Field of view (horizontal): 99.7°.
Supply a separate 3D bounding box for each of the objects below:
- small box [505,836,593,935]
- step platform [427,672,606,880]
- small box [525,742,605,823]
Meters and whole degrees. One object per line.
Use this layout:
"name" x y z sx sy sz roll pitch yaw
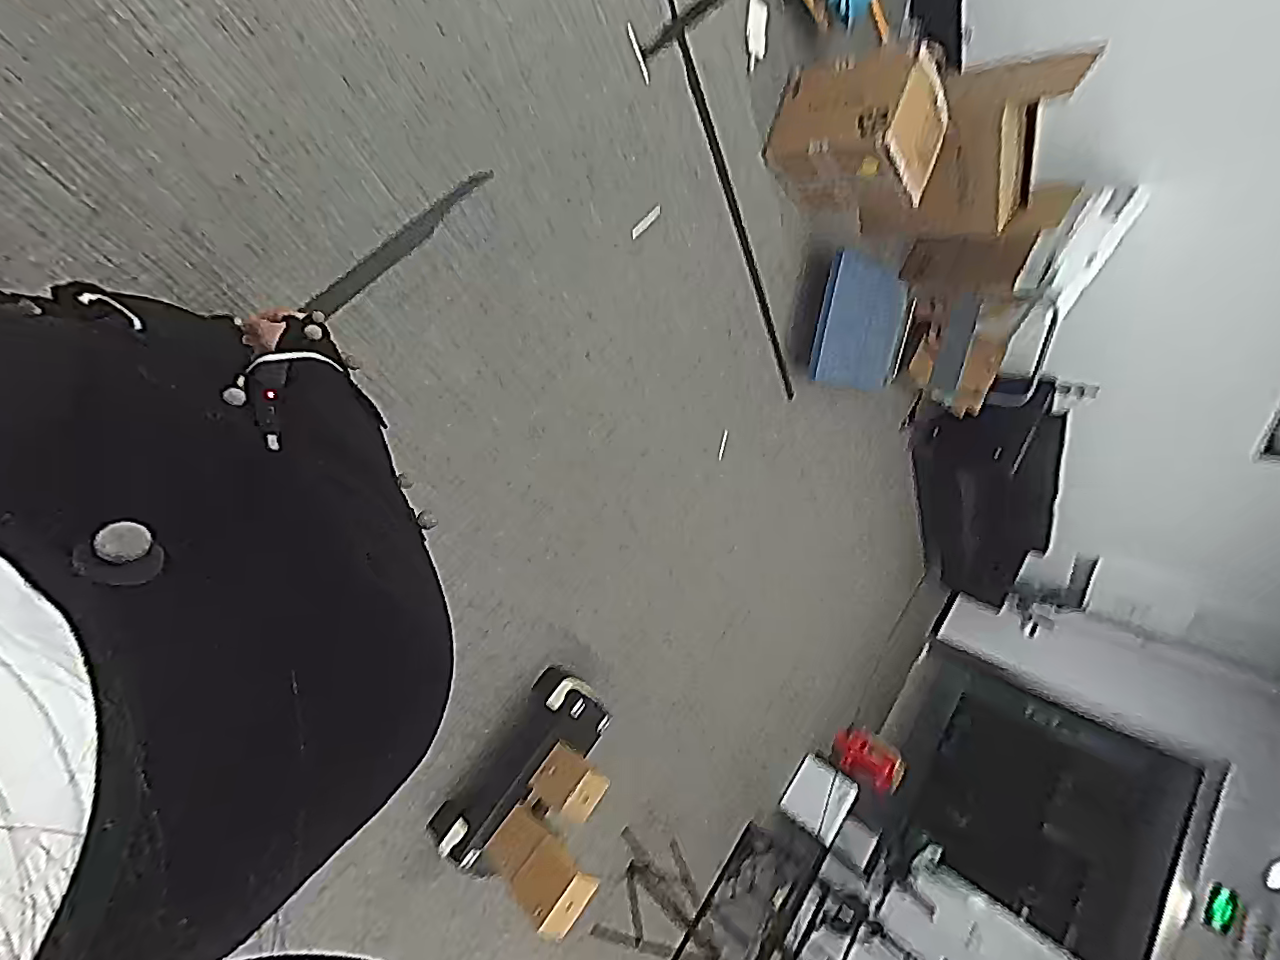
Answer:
"small box" -0.285 1.258 1.685 0.179 0.176 0.168 -49 135 -20
"step platform" -0.423 1.067 1.969 0.684 0.204 0.286 -52 137 -19
"small box" -0.260 1.042 1.870 0.168 0.176 0.179 -51 136 -20
